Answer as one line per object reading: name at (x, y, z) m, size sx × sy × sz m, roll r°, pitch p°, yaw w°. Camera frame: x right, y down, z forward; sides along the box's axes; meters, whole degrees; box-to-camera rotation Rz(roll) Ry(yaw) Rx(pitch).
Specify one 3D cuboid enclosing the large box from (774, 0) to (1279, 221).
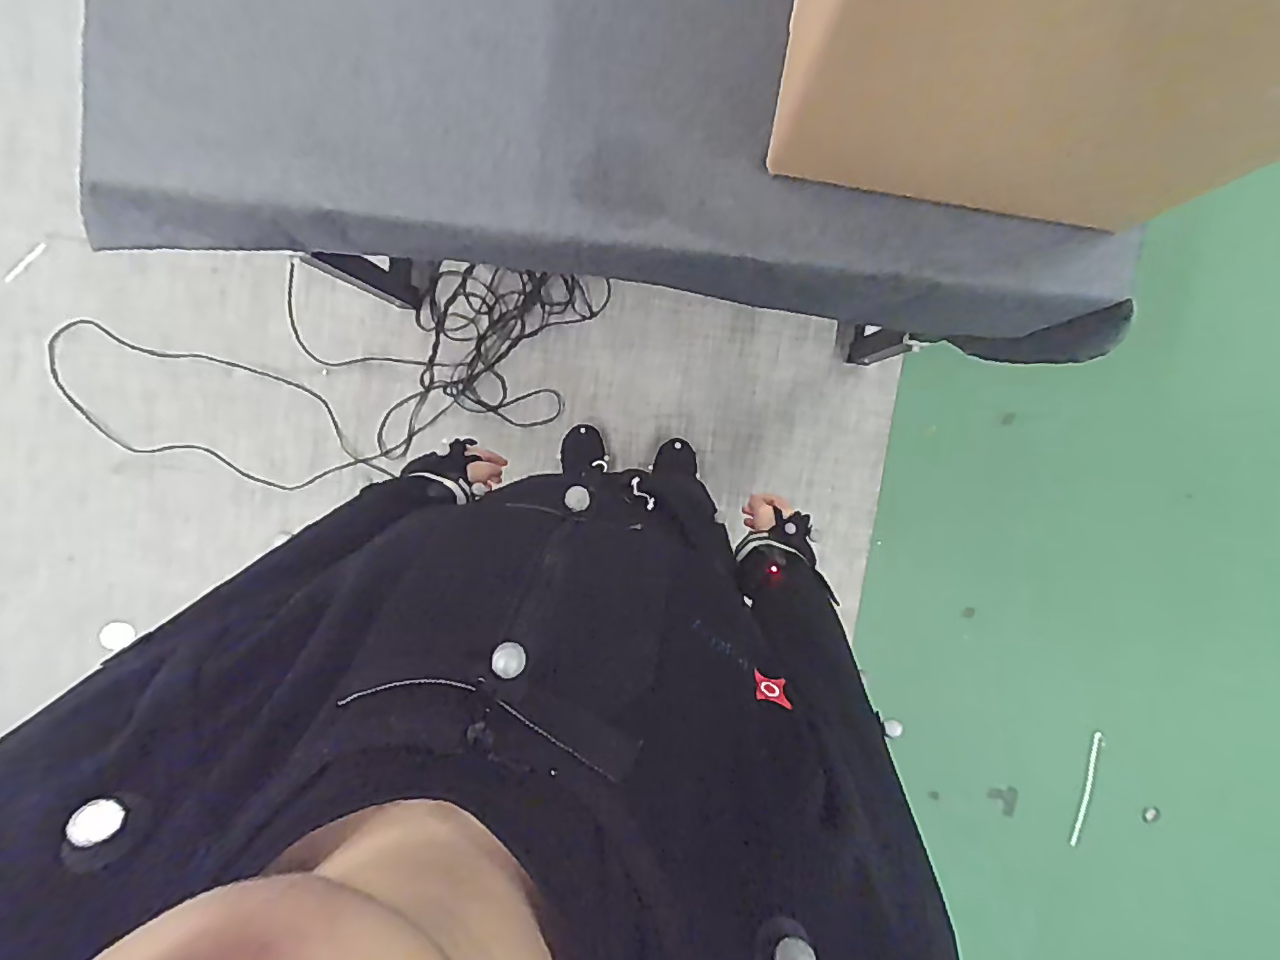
large box at (0.360, -0.451, 0.441) m, size 0.408 × 0.320 × 0.320 m, roll 9°, pitch 95°, yaw 0°
